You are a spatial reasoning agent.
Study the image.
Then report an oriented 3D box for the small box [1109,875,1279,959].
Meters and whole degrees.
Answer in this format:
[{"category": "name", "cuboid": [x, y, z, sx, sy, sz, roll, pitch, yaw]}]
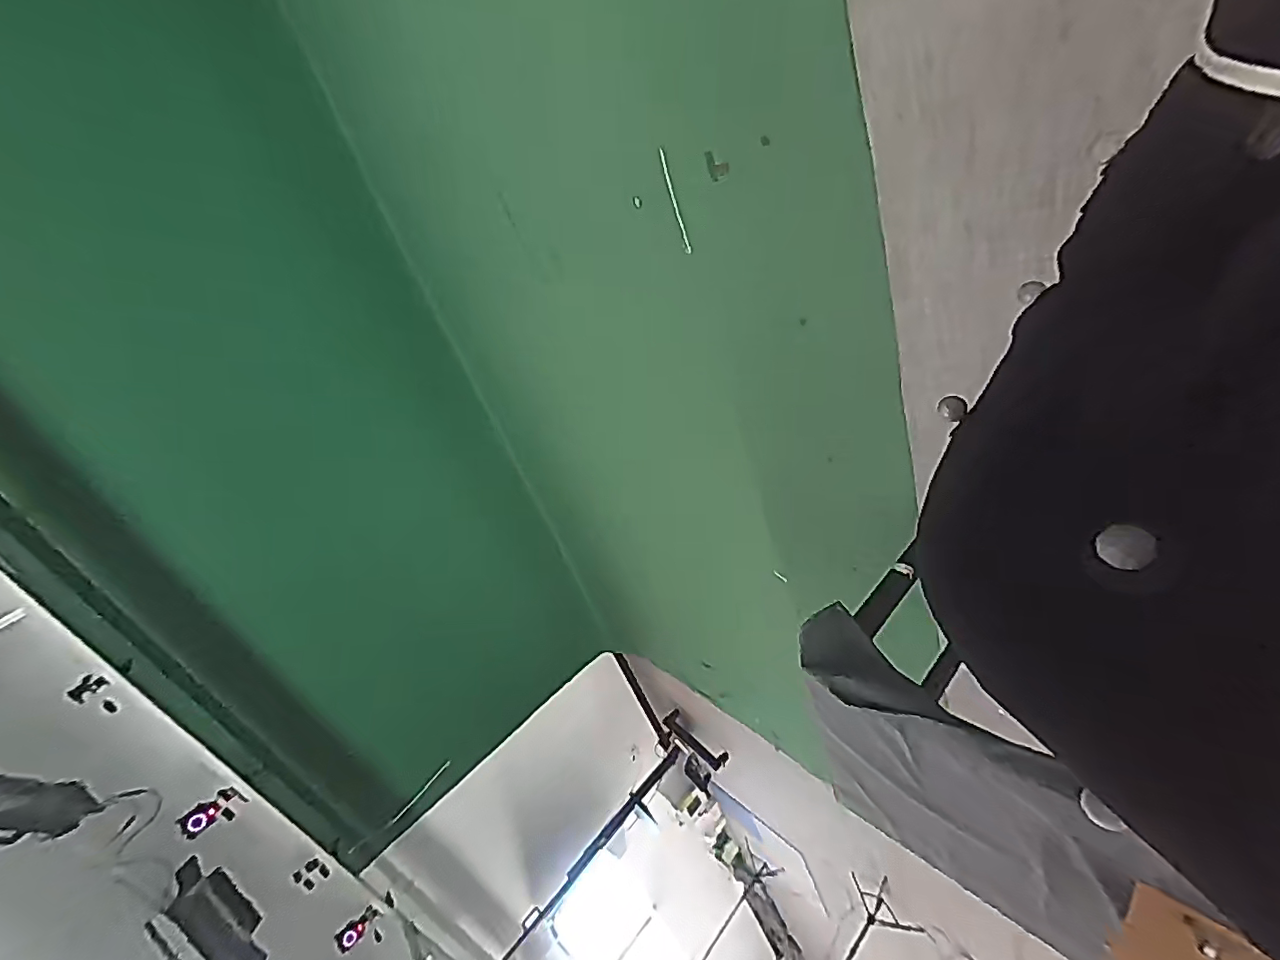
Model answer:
[{"category": "small box", "cuboid": [0.832, 0.762, 0.816, 0.168, 0.176, 0.179, 14, 133, 50]}]
